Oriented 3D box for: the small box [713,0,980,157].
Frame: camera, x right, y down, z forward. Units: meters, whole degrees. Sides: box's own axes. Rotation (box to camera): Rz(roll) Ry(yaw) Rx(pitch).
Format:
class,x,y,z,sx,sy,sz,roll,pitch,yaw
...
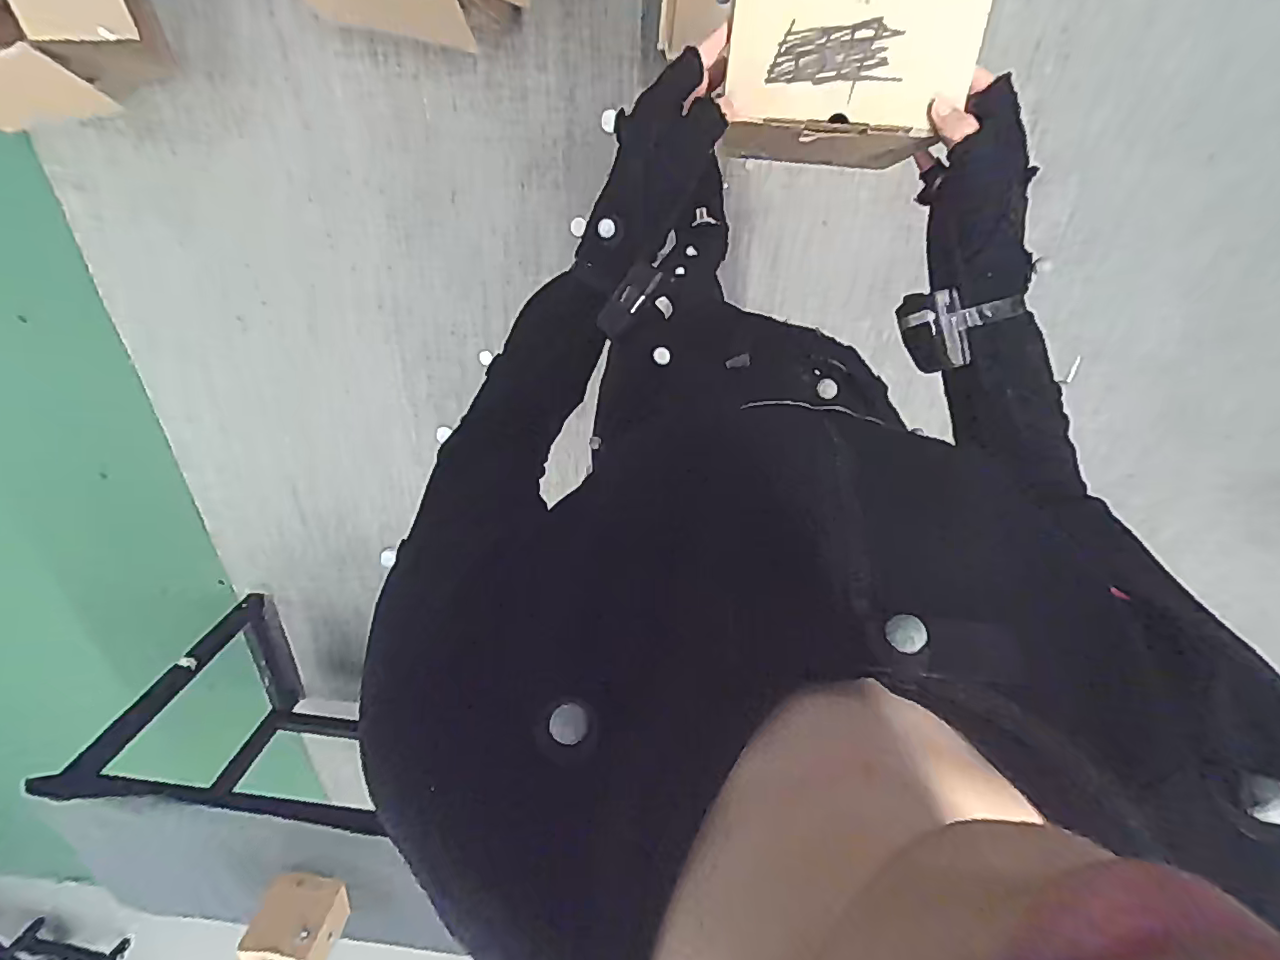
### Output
class,x,y,z,sx,sy,sz,roll,pitch,yaw
small box,0.151,-0.367,0.421,0.168,0.176,0.179,7,112,4
